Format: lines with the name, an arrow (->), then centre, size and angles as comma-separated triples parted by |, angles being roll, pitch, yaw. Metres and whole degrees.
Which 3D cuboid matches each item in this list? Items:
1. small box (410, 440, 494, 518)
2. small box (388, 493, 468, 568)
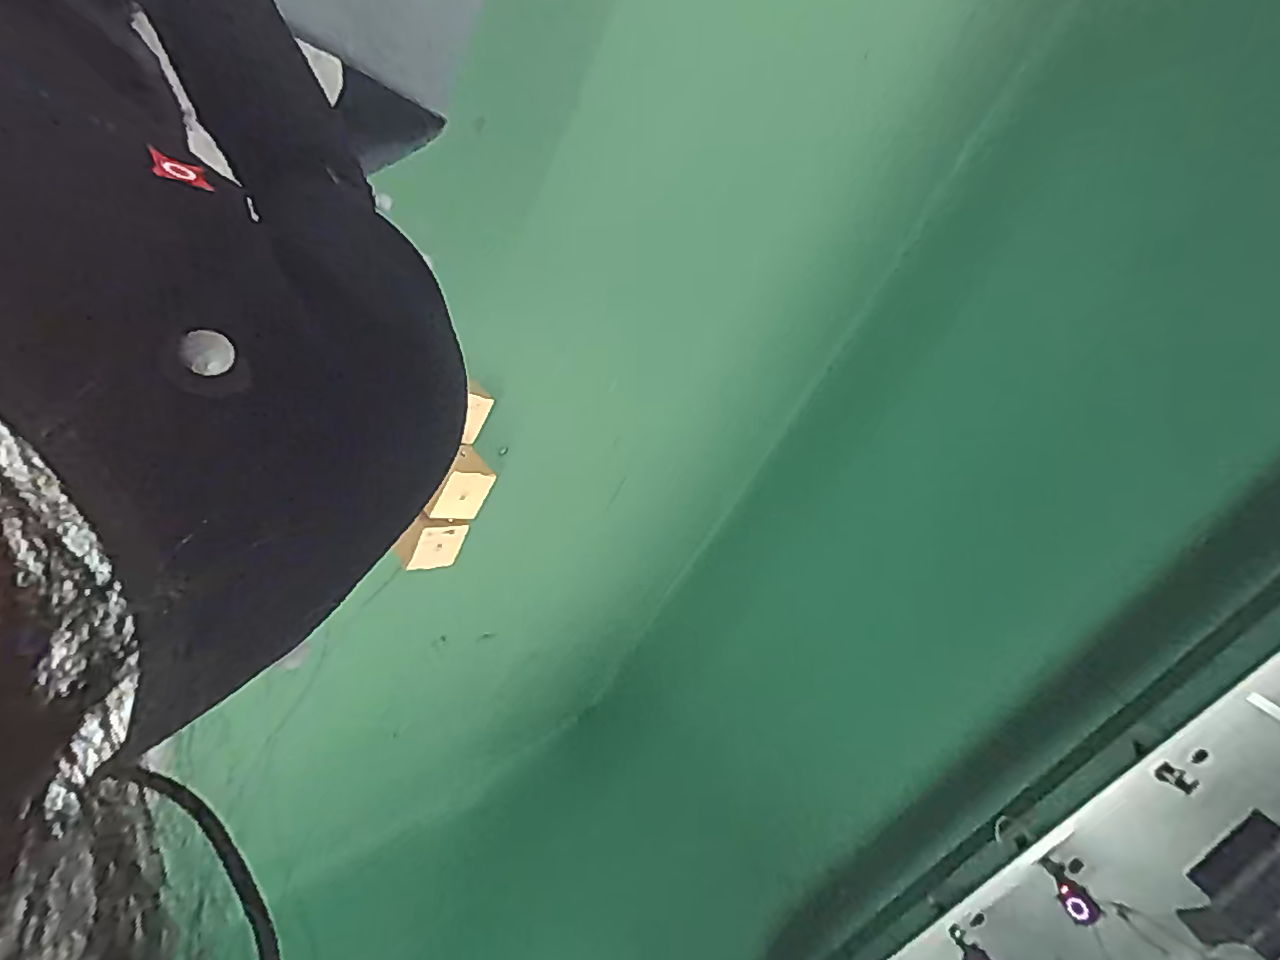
small box -> -0.602, -0.002, 1.715 | 0.168, 0.176, 0.179 | 9, 117, -55
small box -> -0.702, 0.162, 1.776 | 0.168, 0.176, 0.179 | 1, 126, -53
